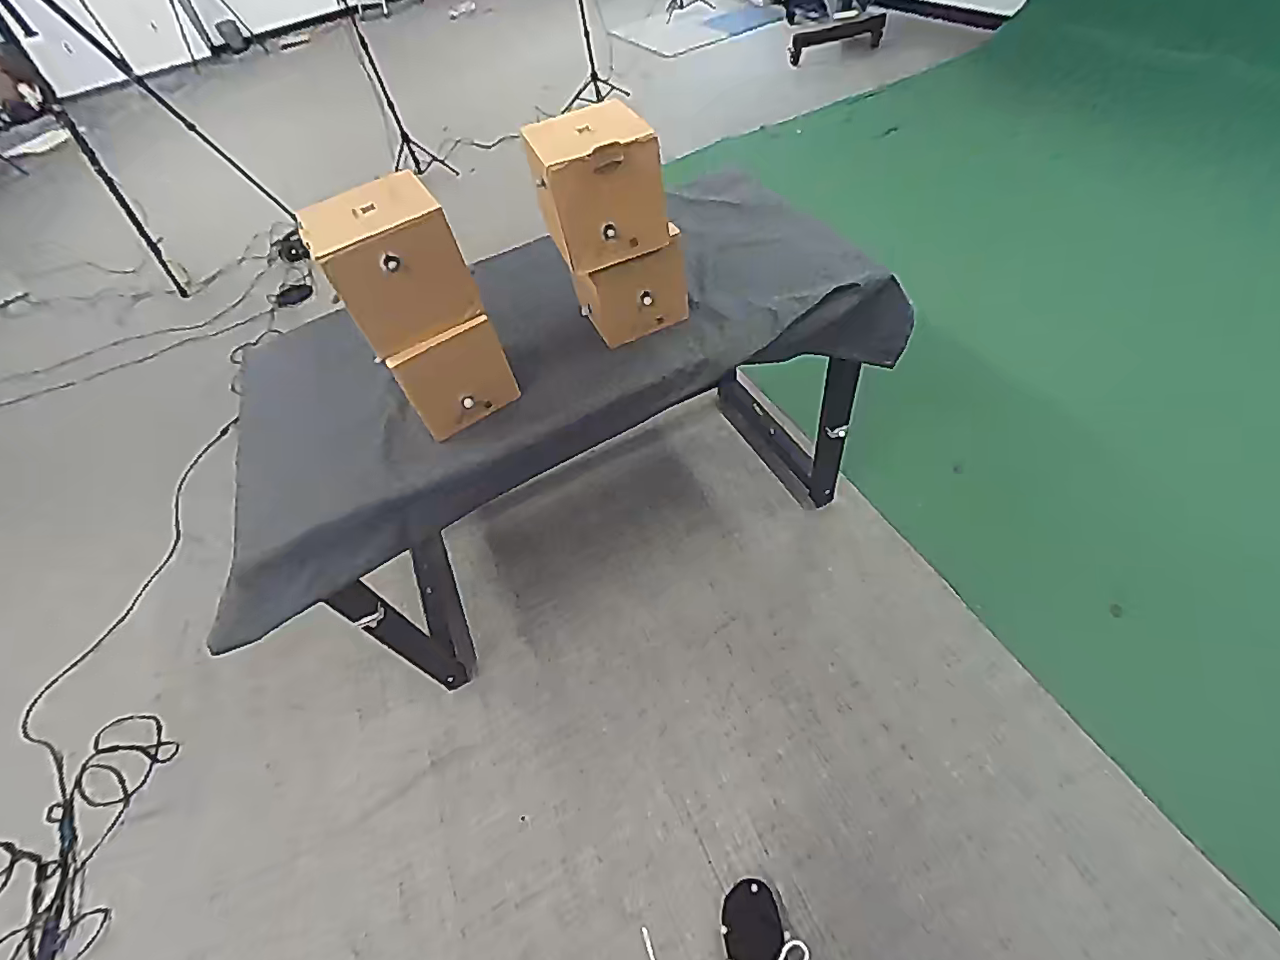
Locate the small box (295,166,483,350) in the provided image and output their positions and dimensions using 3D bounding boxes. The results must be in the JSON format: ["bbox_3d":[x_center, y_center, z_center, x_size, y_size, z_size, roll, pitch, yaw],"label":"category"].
[{"bbox_3d":[-0.361,-0.321,0.796,0.179,0.176,0.168,-29,55,-13],"label":"small box"}]

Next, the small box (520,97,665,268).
[{"bbox_3d":[-0.071,-0.466,0.853,0.168,0.176,0.179,-22,53,-7],"label":"small box"}]

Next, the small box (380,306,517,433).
[{"bbox_3d":[-0.334,-0.212,0.913,0.168,0.176,0.179,-33,55,-15],"label":"small box"}]

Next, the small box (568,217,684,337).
[{"bbox_3d":[-0.030,-0.386,0.992,0.168,0.176,0.179,-25,53,-8],"label":"small box"}]
